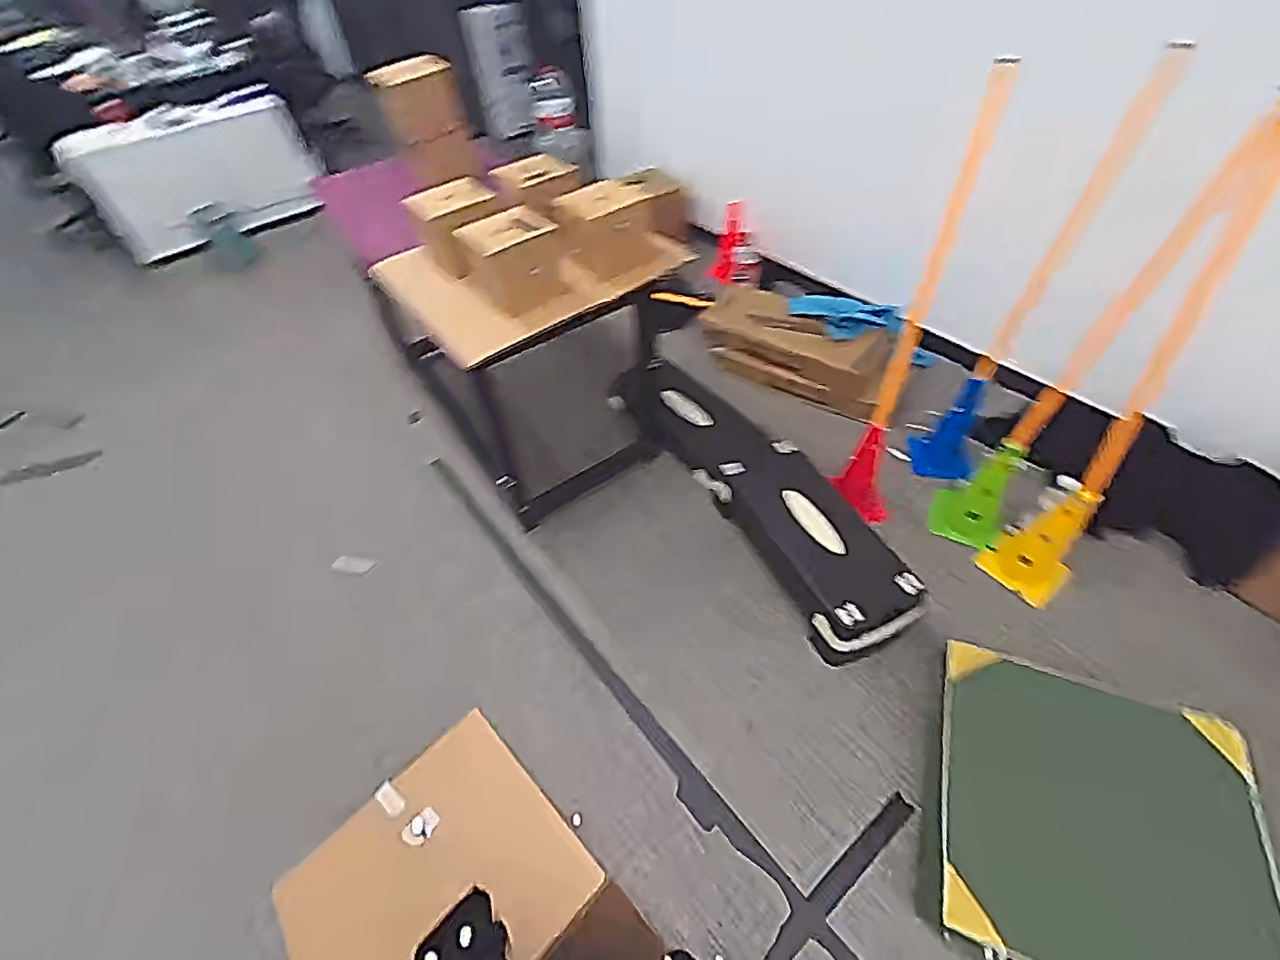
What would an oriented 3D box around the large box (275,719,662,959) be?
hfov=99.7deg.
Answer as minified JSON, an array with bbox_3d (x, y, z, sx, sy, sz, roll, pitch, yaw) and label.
[{"bbox_3d":[-0.214,0.631,0.774,0.320,0.408,0.320,-39,45,-25],"label":"large box"}]
